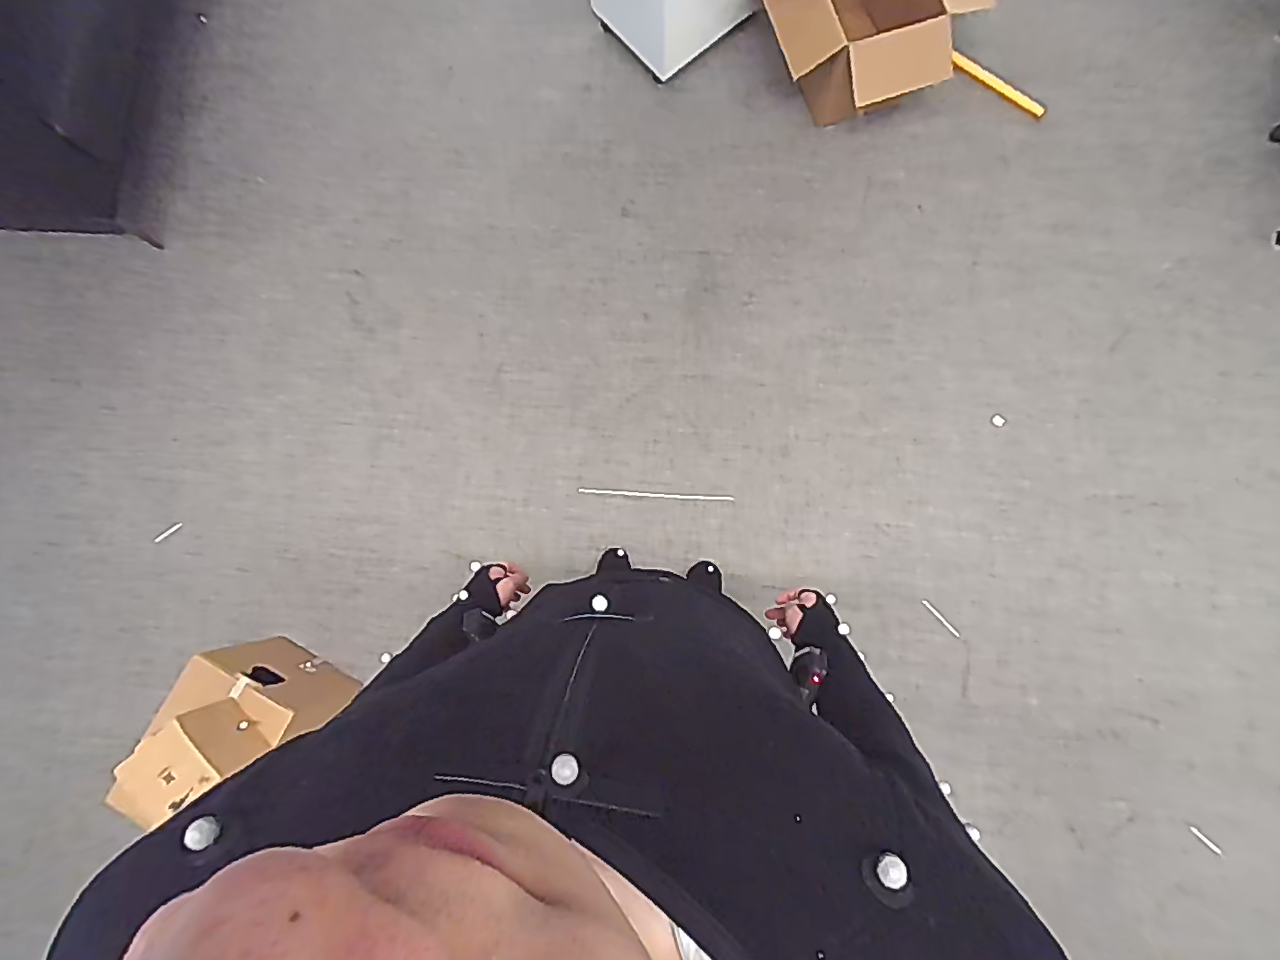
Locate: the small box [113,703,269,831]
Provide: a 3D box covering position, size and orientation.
[{"bbox_3d":[-1.008,0.634,1.229,0.168,0.176,0.179,-42,84,-4],"label":"small box"}]

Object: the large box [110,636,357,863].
[{"bbox_3d":[-1.068,0.693,1.471,0.320,0.320,0.408,27,85,6],"label":"large box"}]
